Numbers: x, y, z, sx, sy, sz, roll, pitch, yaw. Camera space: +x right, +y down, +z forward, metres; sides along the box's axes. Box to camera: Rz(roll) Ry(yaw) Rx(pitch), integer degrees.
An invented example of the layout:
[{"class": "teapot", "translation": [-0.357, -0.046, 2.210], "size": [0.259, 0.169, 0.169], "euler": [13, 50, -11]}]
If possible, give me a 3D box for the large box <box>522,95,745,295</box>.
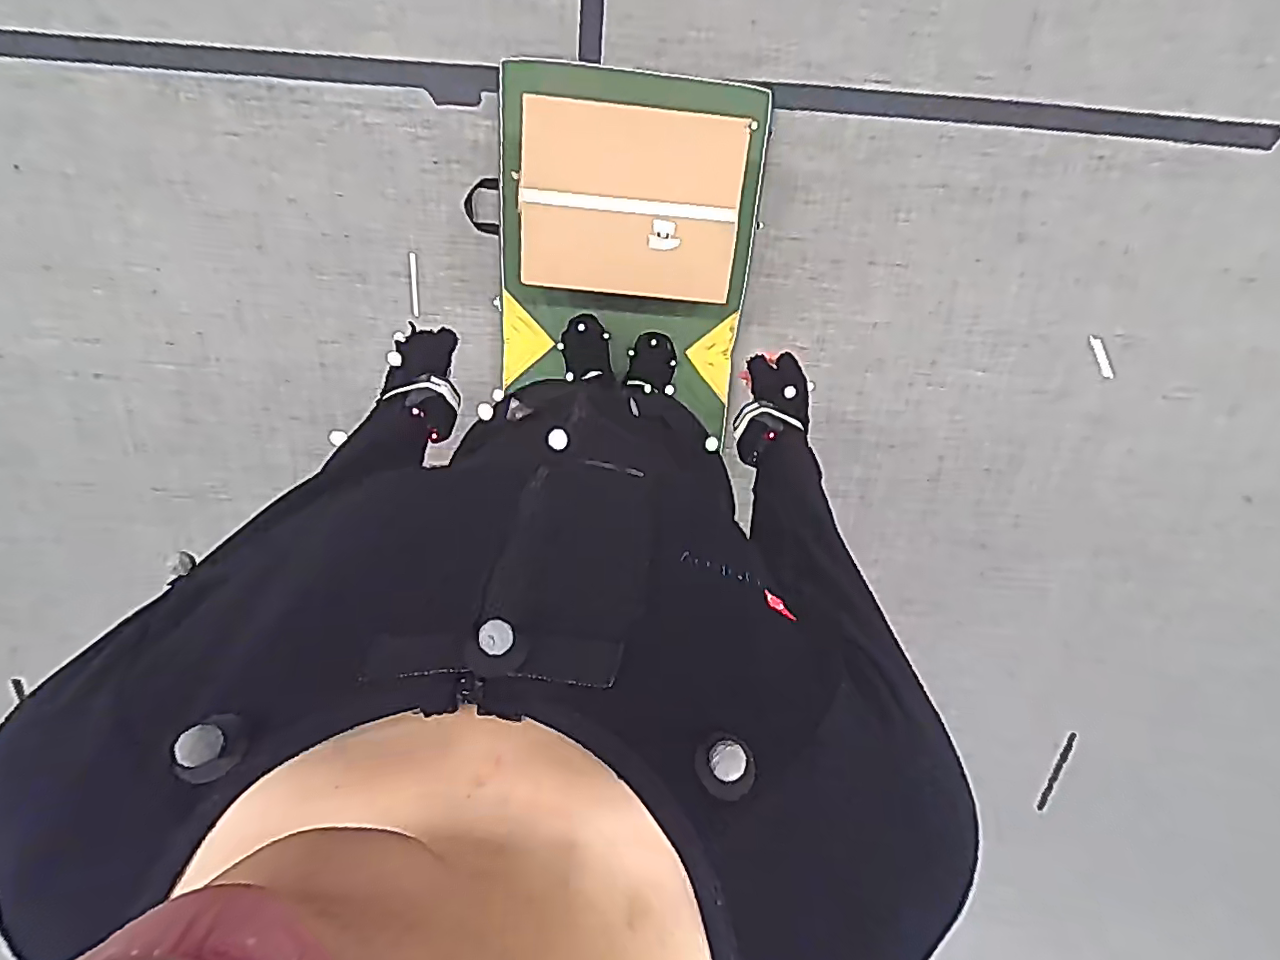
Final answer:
[{"class": "large box", "translation": [-0.025, -0.575, 1.148], "size": [0.408, 0.320, 0.320], "euler": [4, 112, -3]}]
